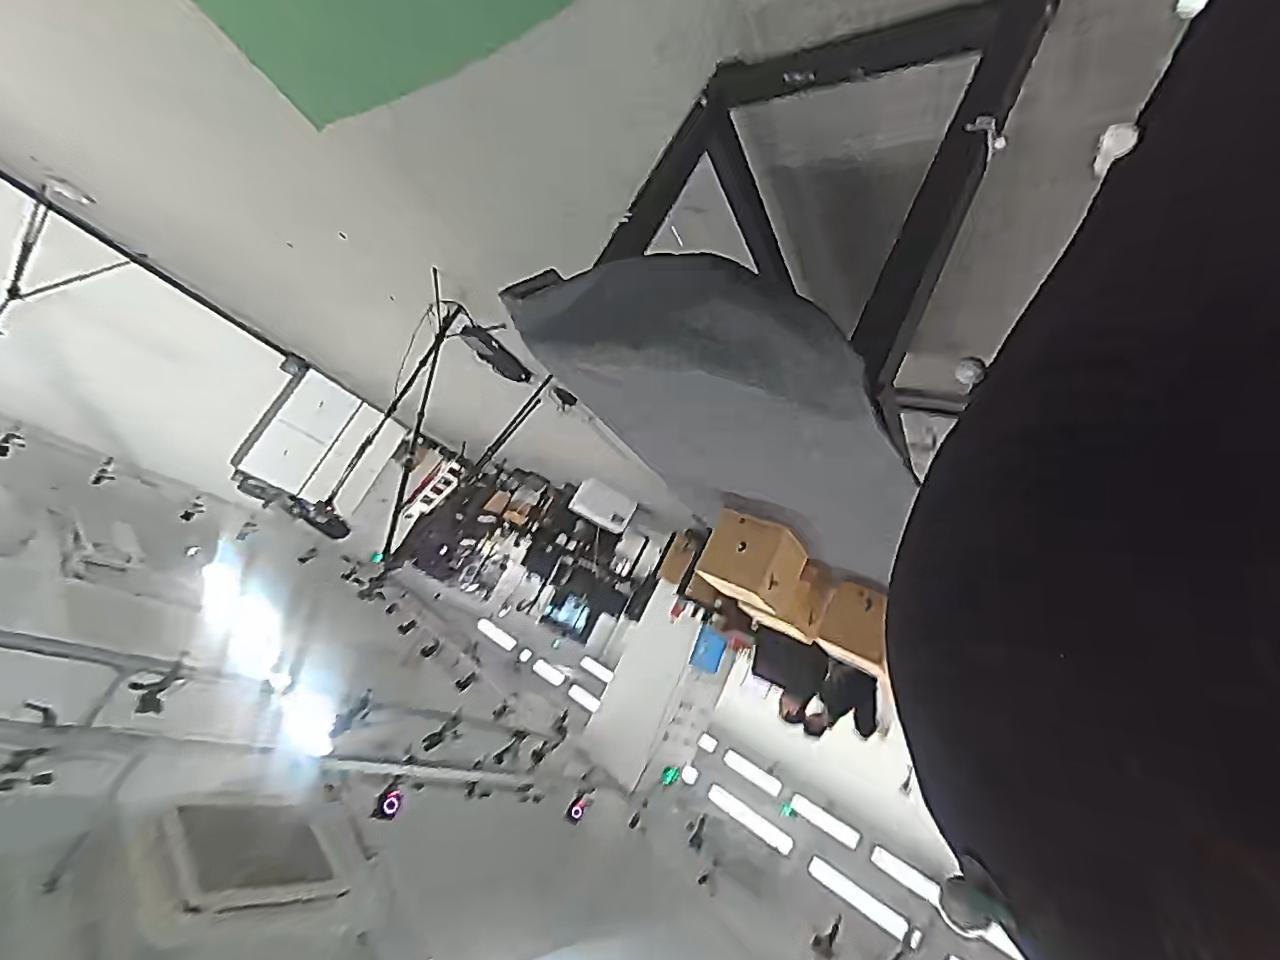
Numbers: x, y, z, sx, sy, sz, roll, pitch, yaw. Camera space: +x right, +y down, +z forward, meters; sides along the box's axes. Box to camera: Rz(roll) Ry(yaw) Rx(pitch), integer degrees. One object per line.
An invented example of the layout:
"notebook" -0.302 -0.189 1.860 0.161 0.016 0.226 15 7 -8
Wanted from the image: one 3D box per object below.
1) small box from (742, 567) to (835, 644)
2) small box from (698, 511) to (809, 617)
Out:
"small box" 0.409 0.319 1.478 0.168 0.176 0.179 16 163 41
"small box" 0.269 0.191 1.263 0.168 0.176 0.179 17 163 41
